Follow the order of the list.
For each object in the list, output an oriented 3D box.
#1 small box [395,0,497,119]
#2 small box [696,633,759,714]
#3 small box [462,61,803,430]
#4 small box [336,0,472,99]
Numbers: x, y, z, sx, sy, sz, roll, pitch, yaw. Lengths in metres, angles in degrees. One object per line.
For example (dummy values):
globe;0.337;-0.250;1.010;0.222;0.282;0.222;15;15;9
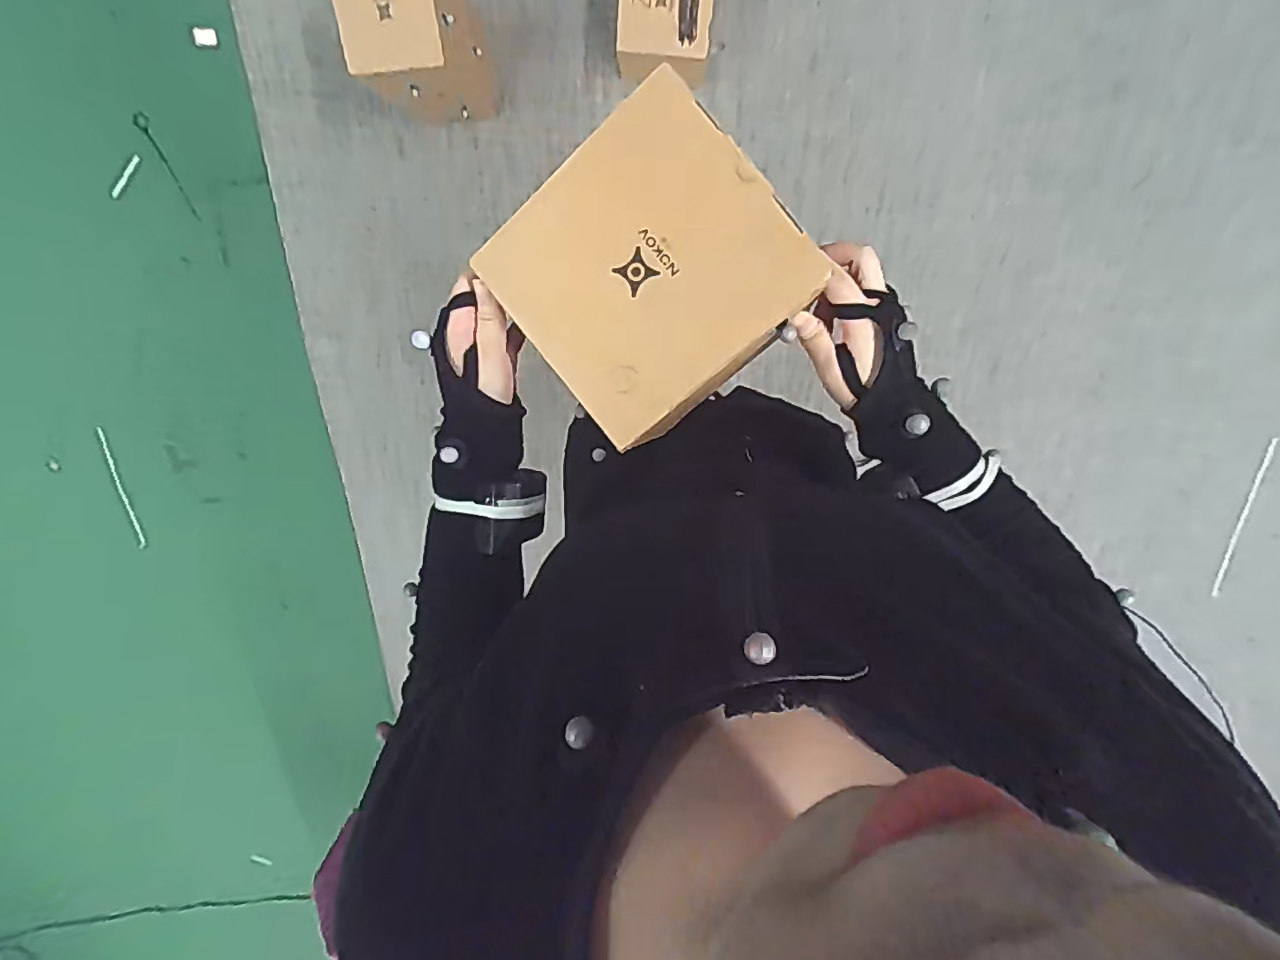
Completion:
small box;-0.403;-0.861;1.110;0.168;0.176;0.179;-2;111;2
small box;0.258;0.581;1.643;0.168;0.176;0.179;-1;110;1
small box;0.005;-0.156;0.430;0.179;0.176;0.168;-38;89;13
small box;-0.411;-0.799;0.957;0.168;0.176;0.179;-3;111;2
